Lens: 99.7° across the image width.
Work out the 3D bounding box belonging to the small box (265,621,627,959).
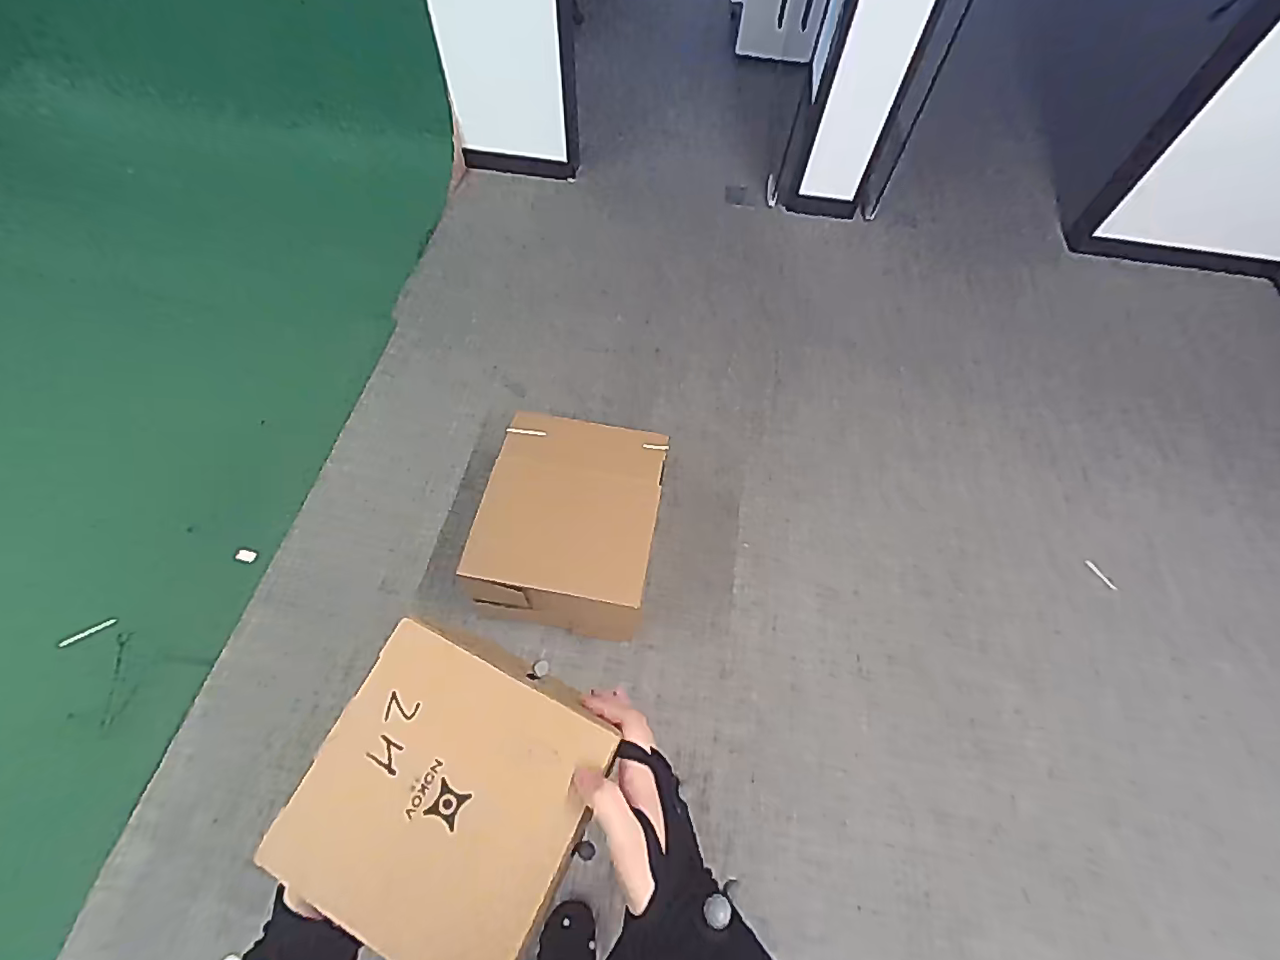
[{"bbox_3d":[-0.121,0.230,0.421,0.179,0.176,0.168,25,72,12],"label":"small box"}]
